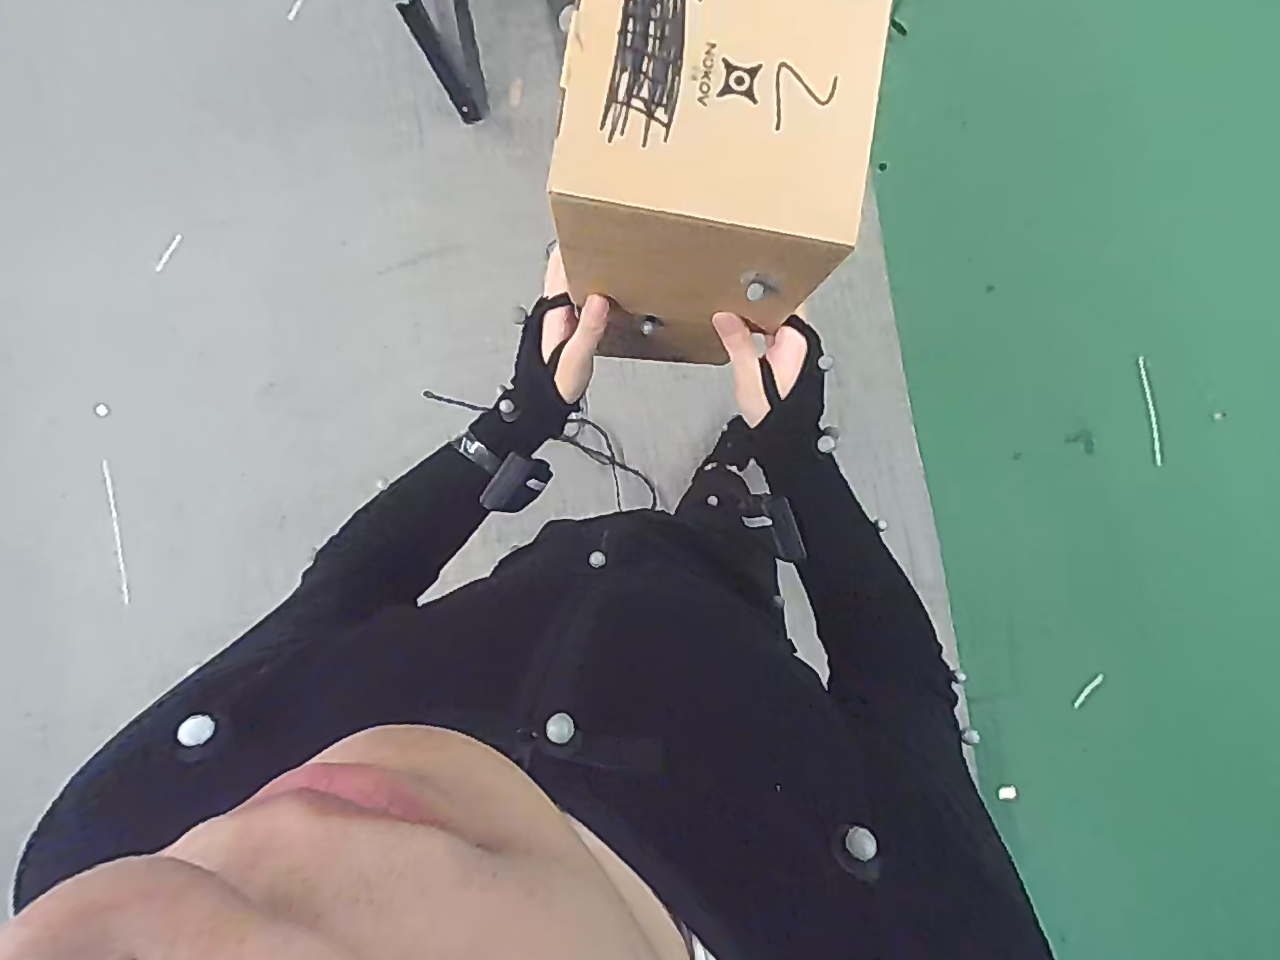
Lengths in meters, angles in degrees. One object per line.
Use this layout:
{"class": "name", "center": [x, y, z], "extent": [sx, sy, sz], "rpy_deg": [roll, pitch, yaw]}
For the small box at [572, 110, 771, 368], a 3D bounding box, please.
{"class": "small box", "center": [0.026, -0.226, 0.548], "extent": [0.168, 0.176, 0.179], "rpy_deg": [4, 87, -1]}
